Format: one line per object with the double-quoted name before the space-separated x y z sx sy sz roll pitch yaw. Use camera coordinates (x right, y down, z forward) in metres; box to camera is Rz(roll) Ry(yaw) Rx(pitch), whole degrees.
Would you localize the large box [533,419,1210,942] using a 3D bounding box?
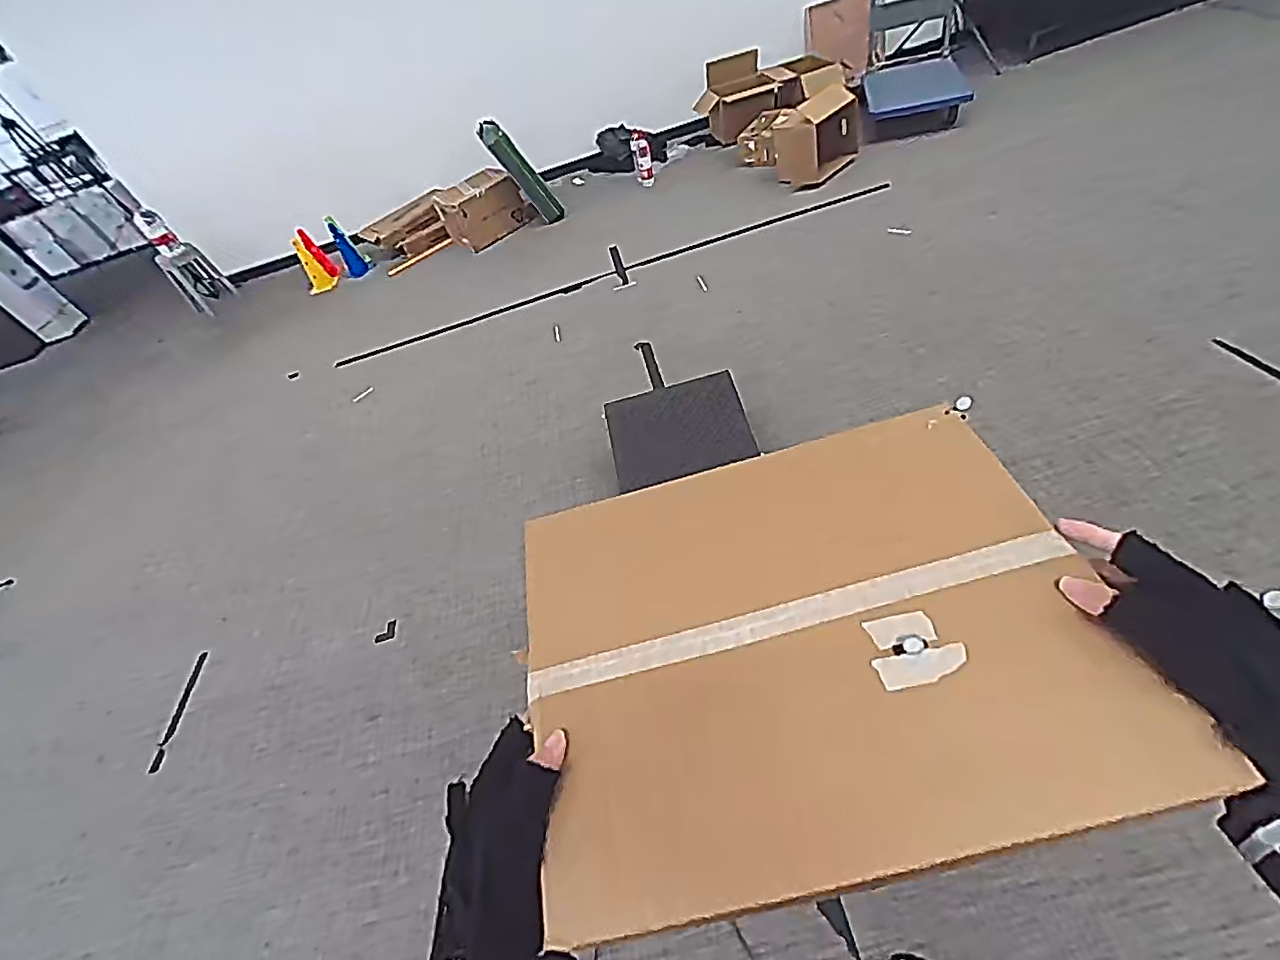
"large box" 0.145 0.202 0.527 0.408 0.320 0.320 -16 50 3
